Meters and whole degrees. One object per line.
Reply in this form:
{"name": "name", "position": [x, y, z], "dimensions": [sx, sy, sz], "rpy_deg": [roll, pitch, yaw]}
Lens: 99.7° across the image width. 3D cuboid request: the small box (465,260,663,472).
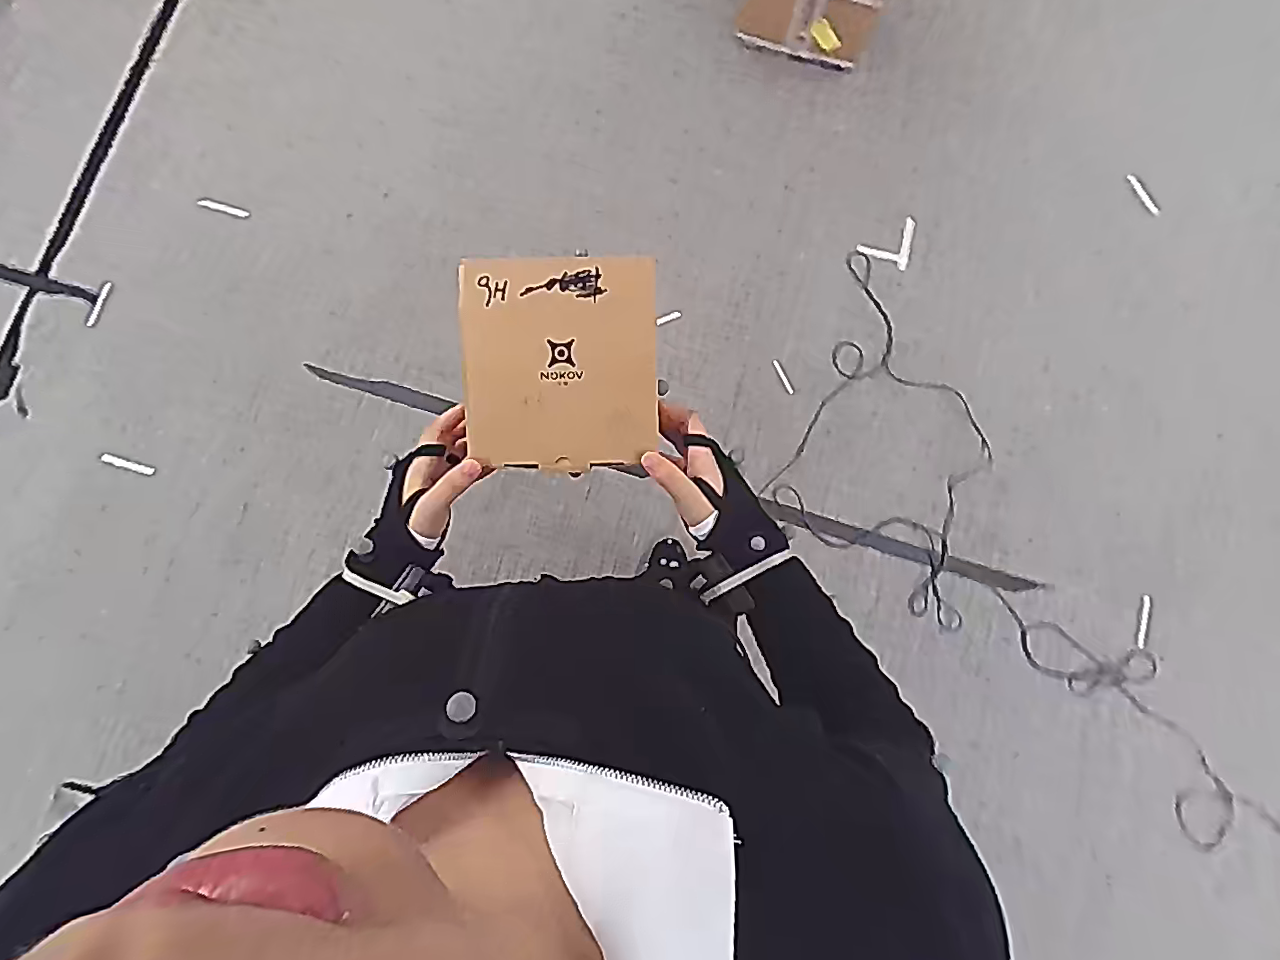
{"name": "small box", "position": [-0.061, -0.104, 0.532], "dimensions": [0.168, 0.176, 0.179], "rpy_deg": [-1, 97, 0]}
